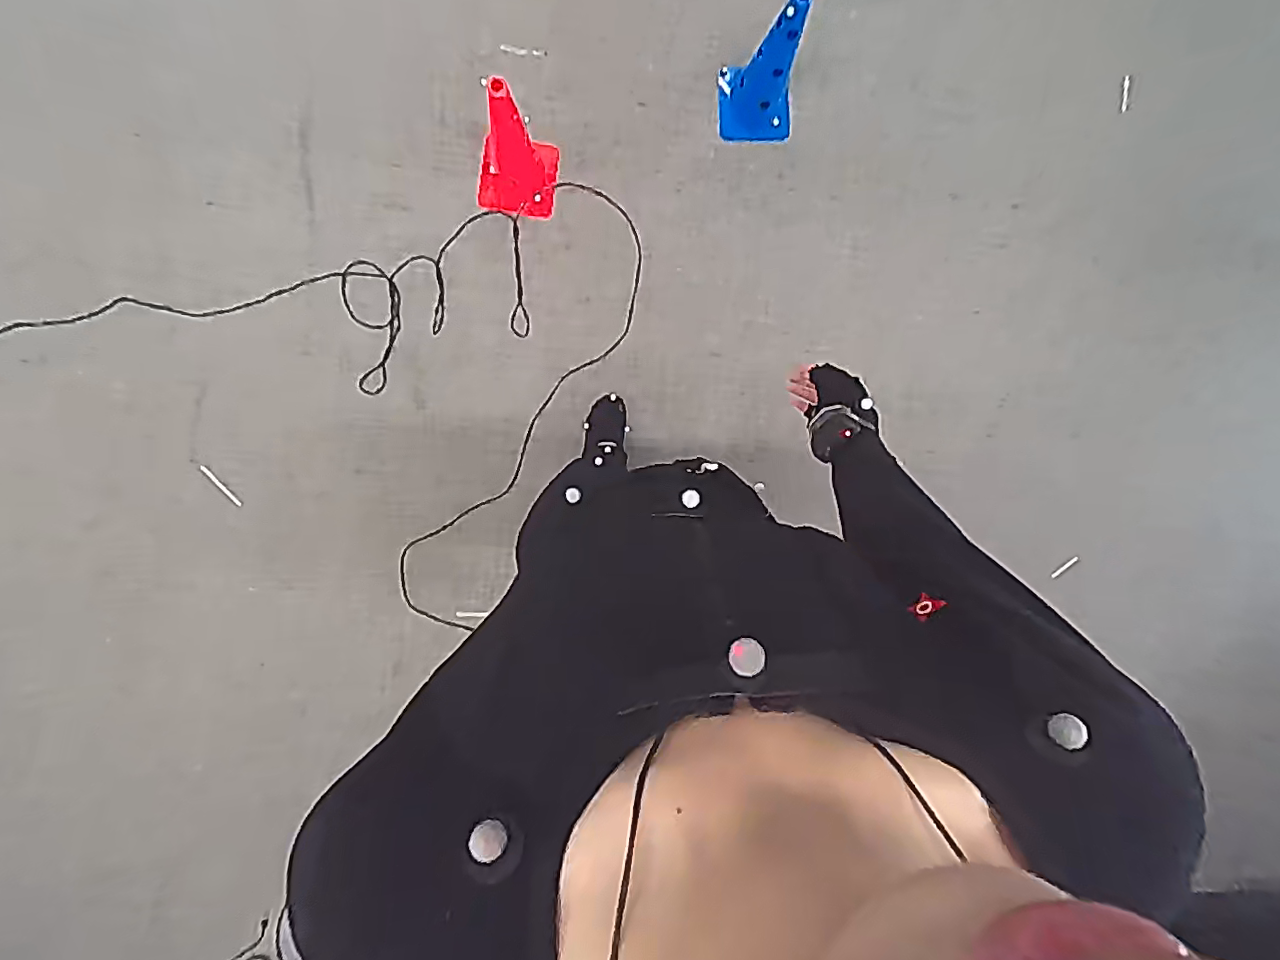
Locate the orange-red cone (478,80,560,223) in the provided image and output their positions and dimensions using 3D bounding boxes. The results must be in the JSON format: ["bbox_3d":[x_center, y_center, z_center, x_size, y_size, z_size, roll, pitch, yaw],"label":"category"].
[{"bbox_3d":[-0.303,-0.797,1.272,0.198,0.360,0.199,9,89,-6],"label":"orange-red cone"}]
